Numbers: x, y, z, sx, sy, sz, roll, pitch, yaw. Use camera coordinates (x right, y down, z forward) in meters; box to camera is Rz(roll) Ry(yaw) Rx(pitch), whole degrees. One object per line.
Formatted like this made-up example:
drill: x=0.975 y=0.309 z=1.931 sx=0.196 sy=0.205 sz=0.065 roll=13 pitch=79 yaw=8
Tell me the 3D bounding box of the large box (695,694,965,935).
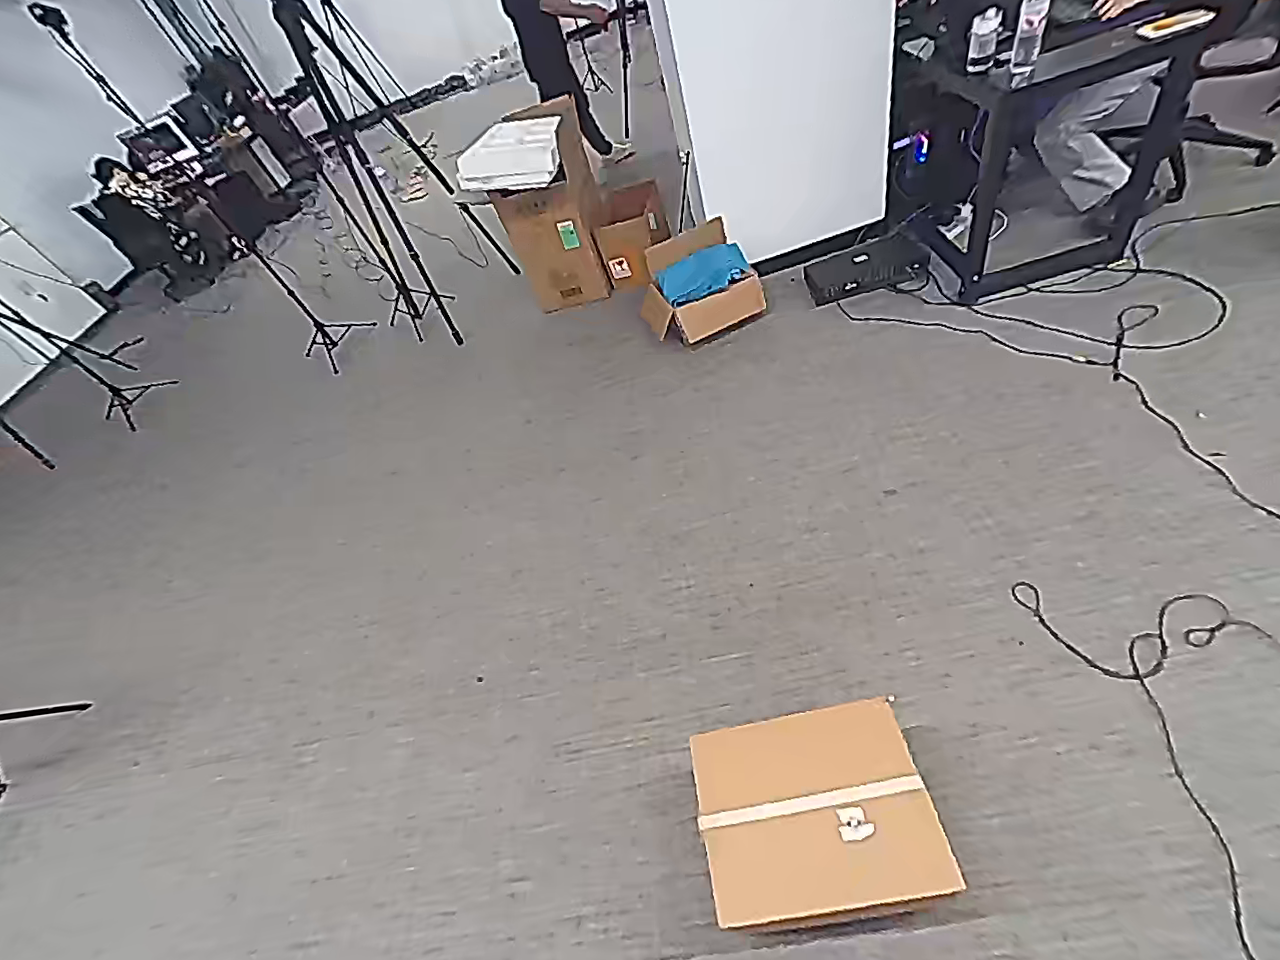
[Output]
large box: x=0.357 y=0.684 z=1.095 sx=0.408 sy=0.320 sz=0.320 roll=-16 pitch=47 yaw=7
